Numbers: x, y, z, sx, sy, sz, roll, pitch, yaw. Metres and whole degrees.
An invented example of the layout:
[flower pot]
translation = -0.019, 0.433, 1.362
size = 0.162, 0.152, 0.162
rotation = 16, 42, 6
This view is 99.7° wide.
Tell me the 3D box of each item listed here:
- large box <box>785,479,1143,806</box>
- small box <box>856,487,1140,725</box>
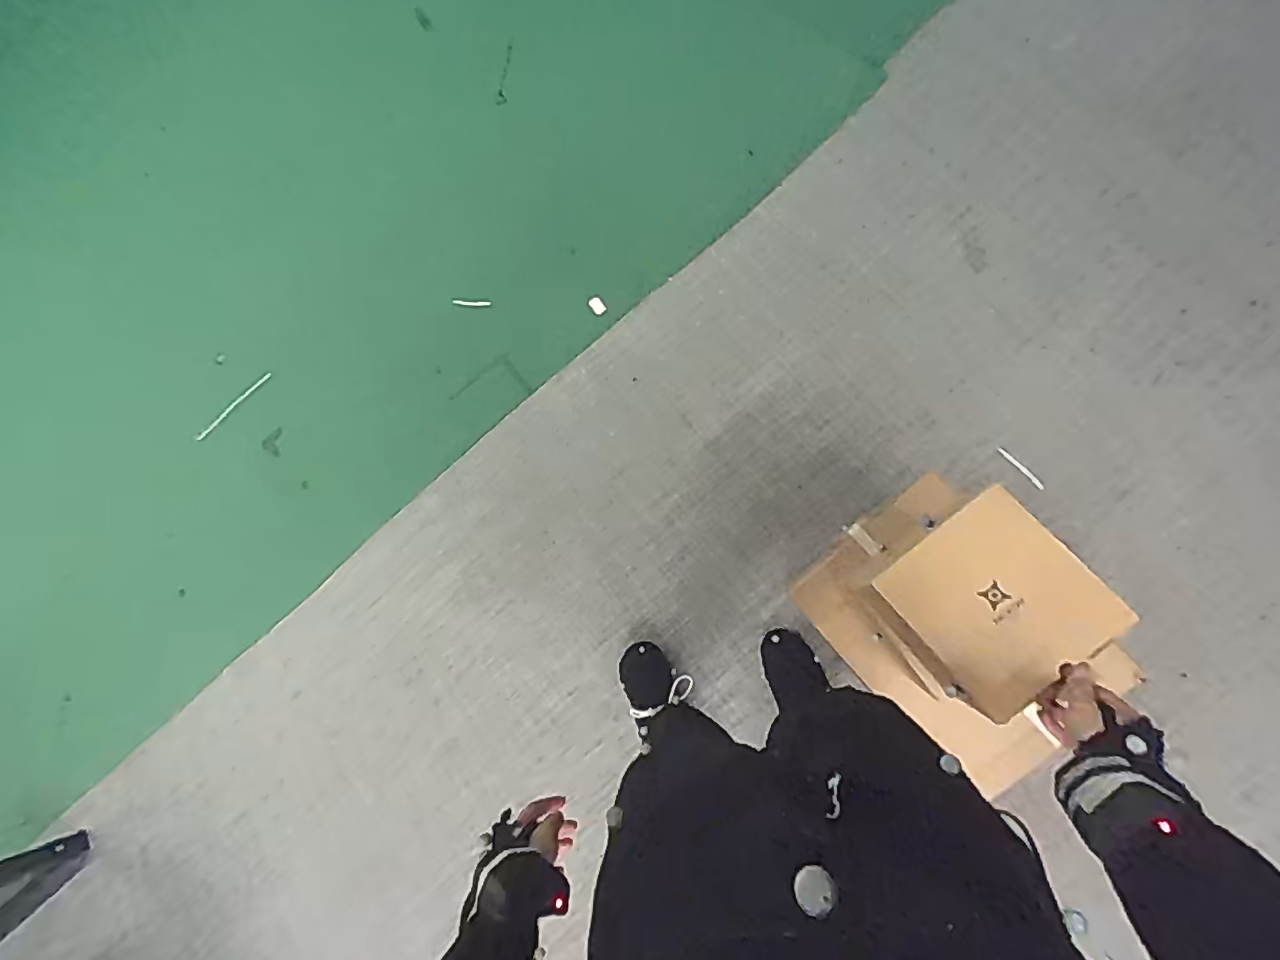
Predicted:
[large box]
translation = 0.517, 0.260, 0.977
size = 0.320, 0.320, 0.408
rotation = -42, 75, 5
[small box]
translation = 0.372, 0.136, 0.608
size = 0.168, 0.176, 0.179
rotation = -40, 74, 4
